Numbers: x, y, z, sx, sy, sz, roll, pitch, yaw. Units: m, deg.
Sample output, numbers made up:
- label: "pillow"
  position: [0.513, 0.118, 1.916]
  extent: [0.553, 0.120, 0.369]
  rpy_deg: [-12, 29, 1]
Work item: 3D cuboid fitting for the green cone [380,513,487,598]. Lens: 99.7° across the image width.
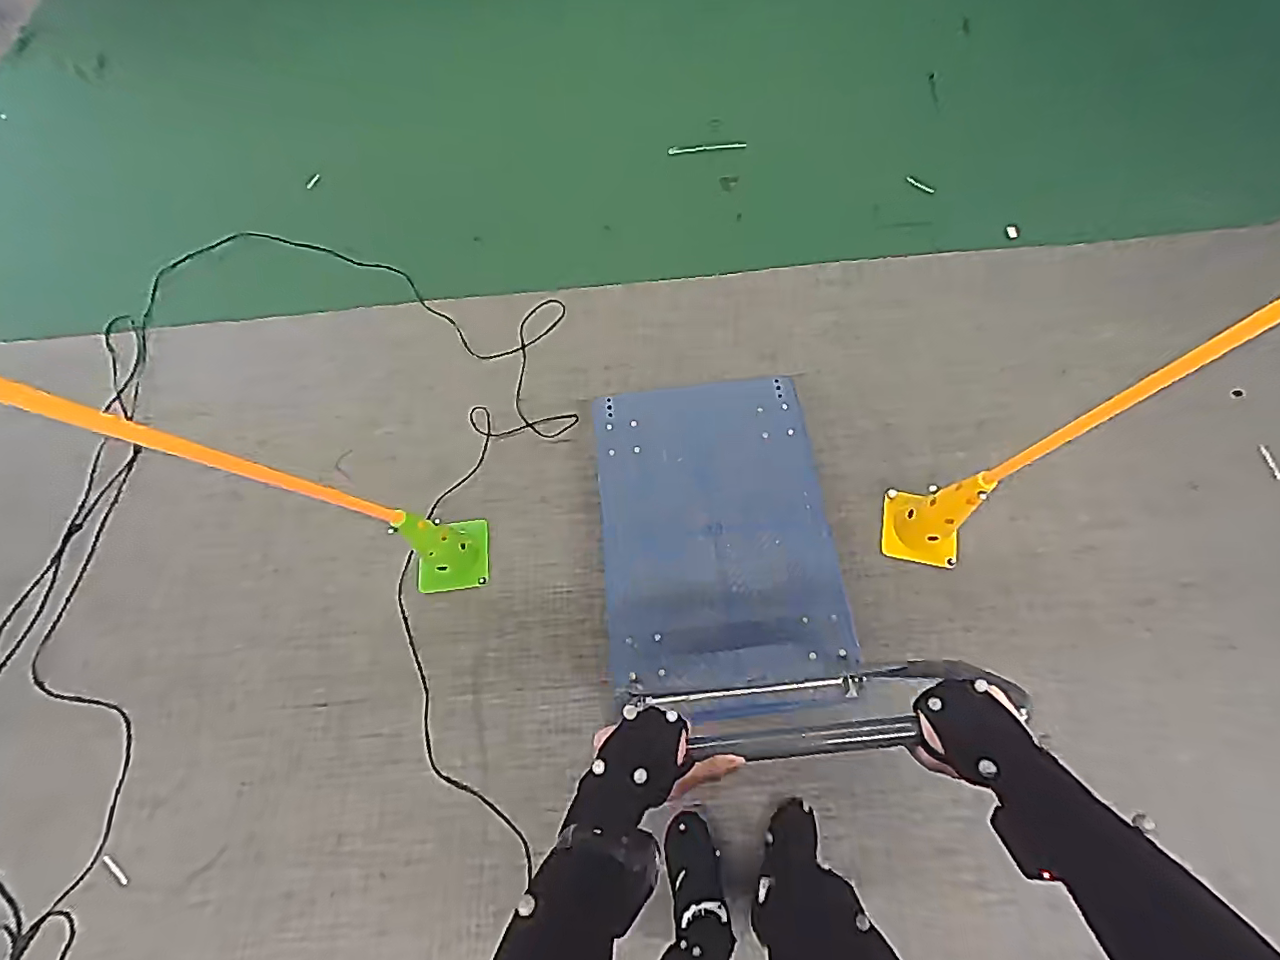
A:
- label: "green cone"
  position: [-0.551, 0.159, 1.390]
  extent: [0.202, 0.368, 0.200]
  rpy_deg: [-9, 66, 1]
